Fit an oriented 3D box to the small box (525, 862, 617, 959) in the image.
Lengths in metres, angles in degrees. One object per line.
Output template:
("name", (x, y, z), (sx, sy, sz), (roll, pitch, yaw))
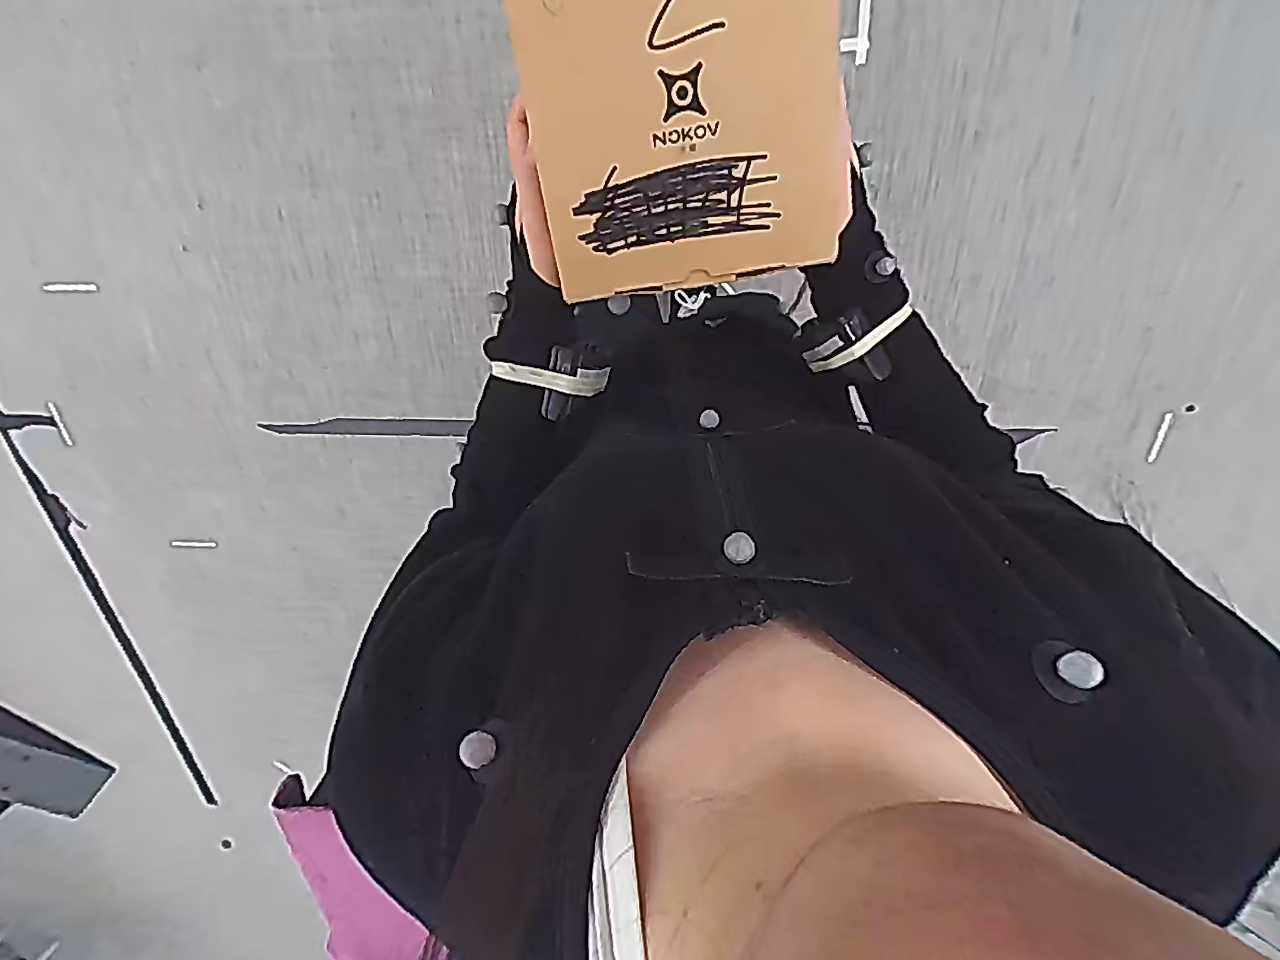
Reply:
("small box", (-0.135, 0.933, 1.118), (0.168, 0.176, 0.179), (2, 115, 1))
